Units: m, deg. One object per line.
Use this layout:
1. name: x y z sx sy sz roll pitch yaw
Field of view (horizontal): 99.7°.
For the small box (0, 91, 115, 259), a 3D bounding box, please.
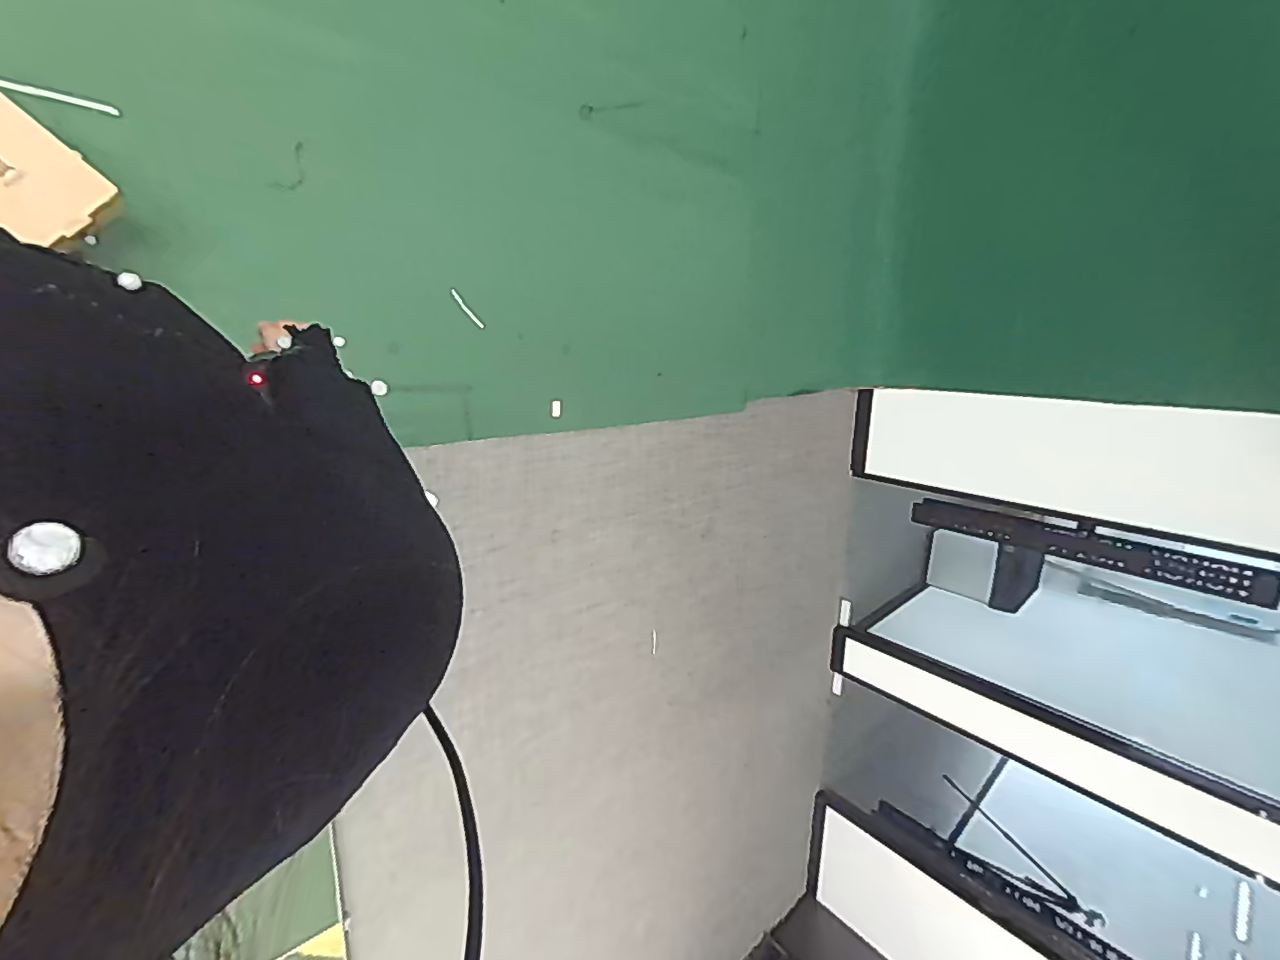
1. small box: -0.949 -0.456 0.815 0.168 0.176 0.179 -55 132 -16
